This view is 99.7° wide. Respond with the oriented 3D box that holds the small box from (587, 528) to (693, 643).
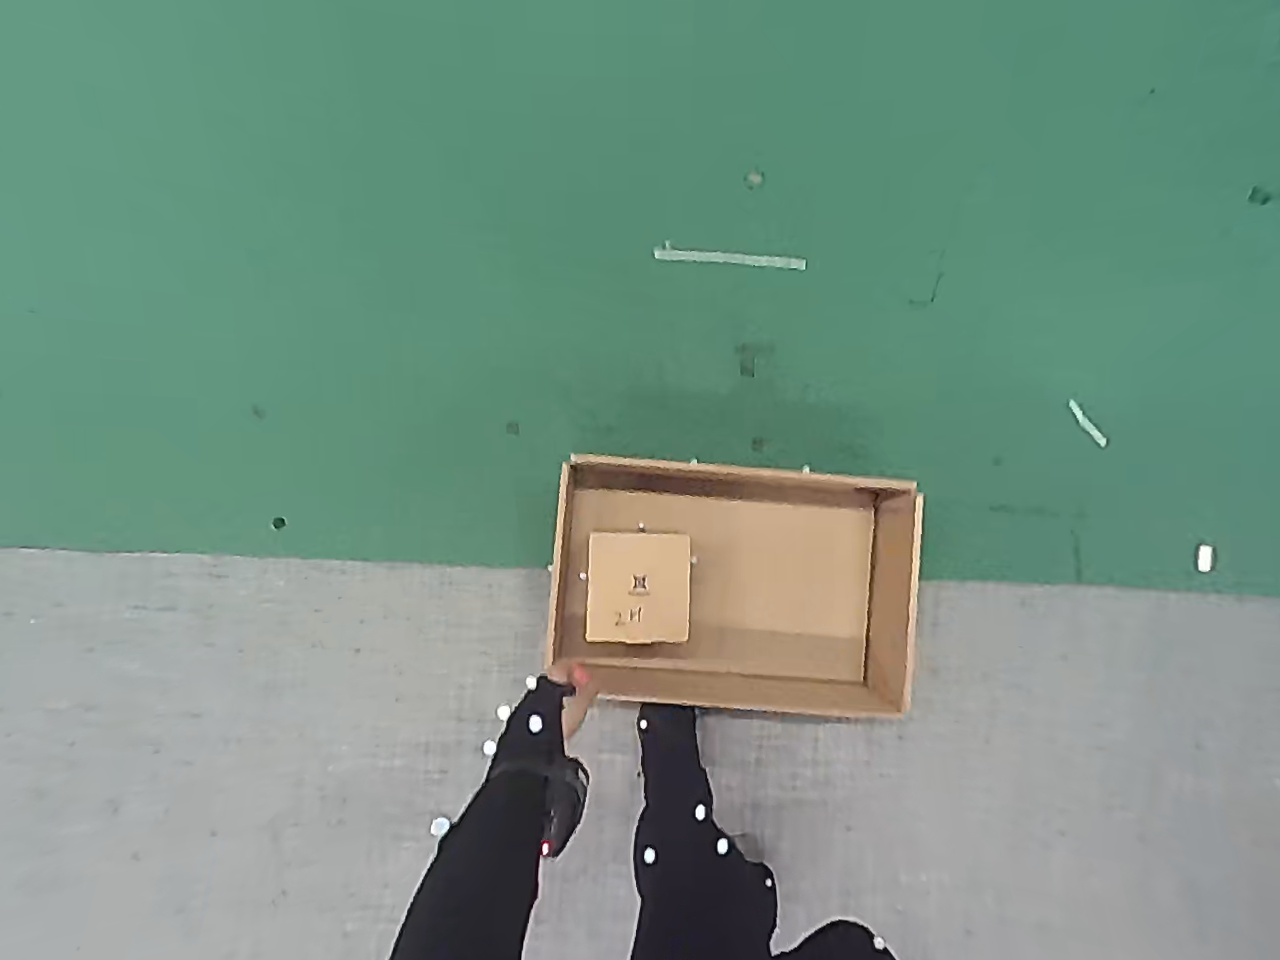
[{"bbox_3d":[-0.003,0.175,0.942,0.168,0.176,0.179,2,88,-2],"label":"small box"}]
